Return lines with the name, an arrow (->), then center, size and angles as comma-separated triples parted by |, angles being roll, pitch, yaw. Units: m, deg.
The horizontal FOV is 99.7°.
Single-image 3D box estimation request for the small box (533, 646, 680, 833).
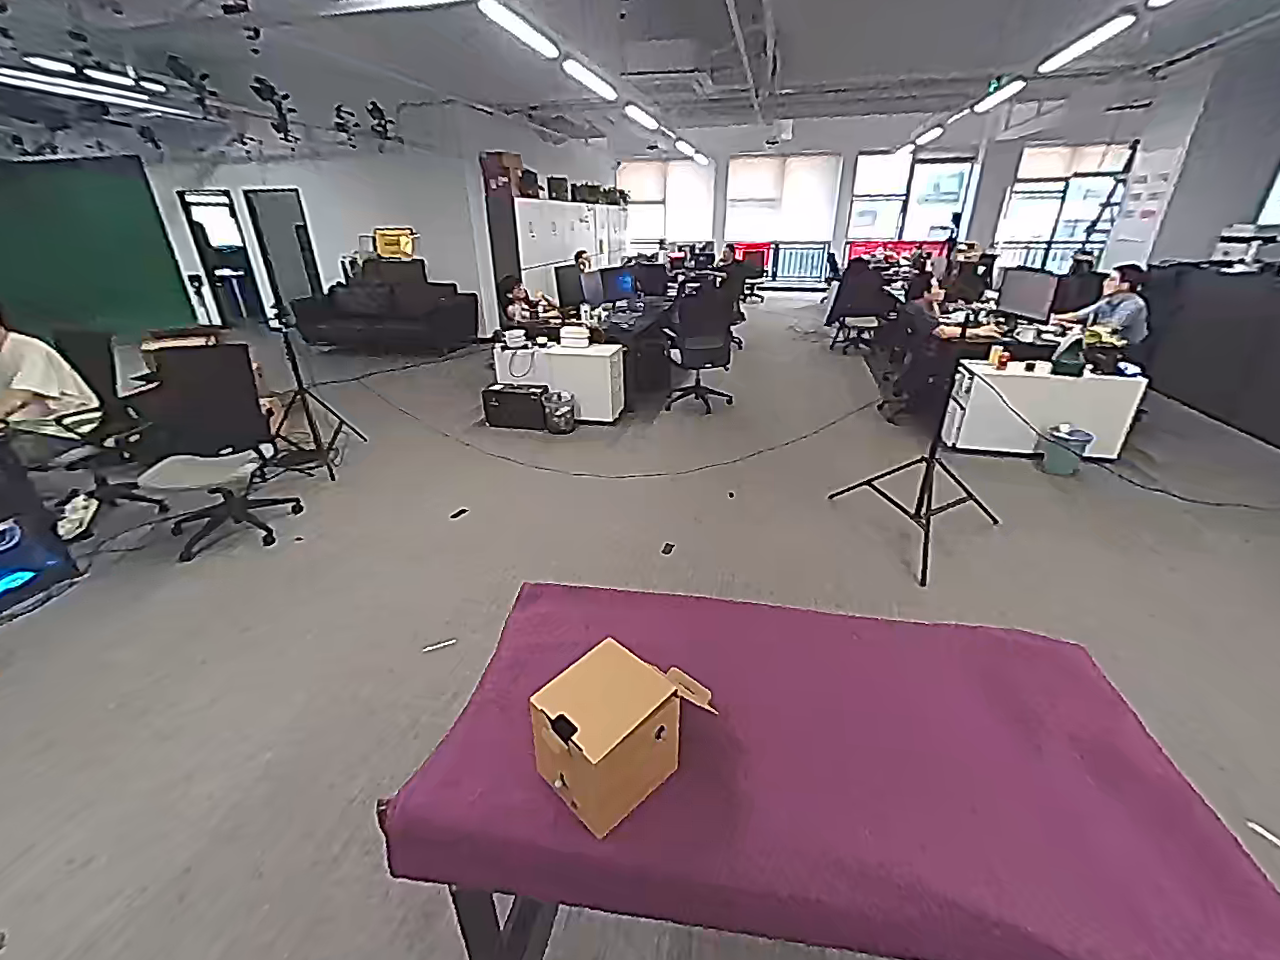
small box -> -0.053, 0.415, 0.883 | 0.179, 0.176, 0.168 | -22, 32, -39
